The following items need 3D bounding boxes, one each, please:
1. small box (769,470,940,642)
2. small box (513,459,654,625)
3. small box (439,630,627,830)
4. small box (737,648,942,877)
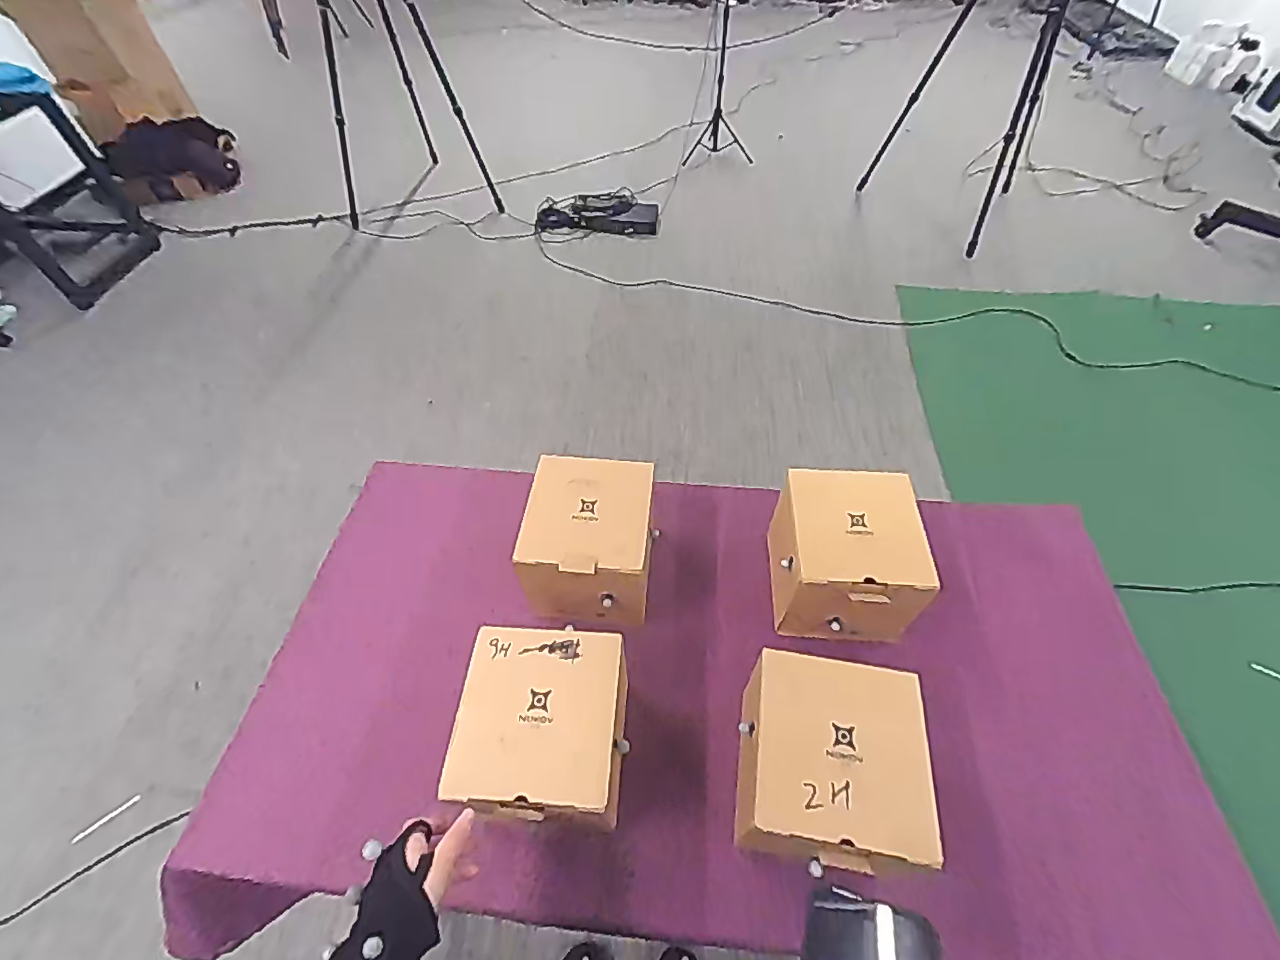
[{"bbox_3d":[0.281,0.107,0.757,0.168,0.176,0.179,2,53,3],"label":"small box"},{"bbox_3d":[-0.068,0.093,0.778,0.168,0.176,0.179,5,52,4],"label":"small box"},{"bbox_3d":[-0.104,0.291,0.622,0.168,0.176,0.179,2,52,3],"label":"small box"},{"bbox_3d":[0.202,0.313,0.596,0.168,0.176,0.179,7,52,8],"label":"small box"}]
